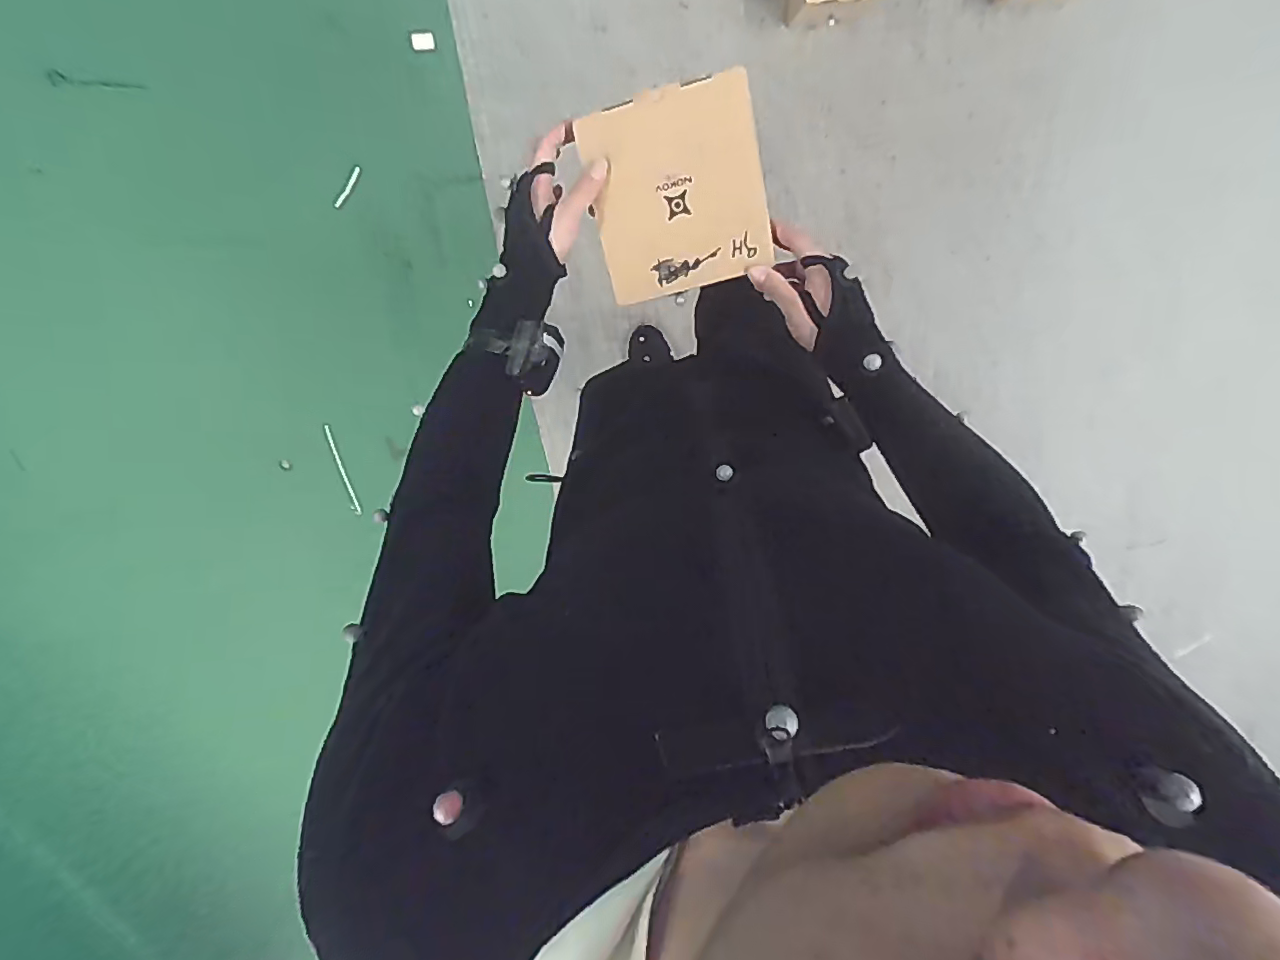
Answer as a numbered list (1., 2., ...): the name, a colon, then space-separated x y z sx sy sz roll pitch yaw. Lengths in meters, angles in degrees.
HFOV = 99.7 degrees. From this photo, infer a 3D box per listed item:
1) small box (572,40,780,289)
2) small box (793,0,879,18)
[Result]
1. small box: 0.041 -0.311 0.578 0.168 0.176 0.179 -13 109 9
2. small box: 0.395 -1.026 1.034 0.168 0.176 0.179 -3 118 4
